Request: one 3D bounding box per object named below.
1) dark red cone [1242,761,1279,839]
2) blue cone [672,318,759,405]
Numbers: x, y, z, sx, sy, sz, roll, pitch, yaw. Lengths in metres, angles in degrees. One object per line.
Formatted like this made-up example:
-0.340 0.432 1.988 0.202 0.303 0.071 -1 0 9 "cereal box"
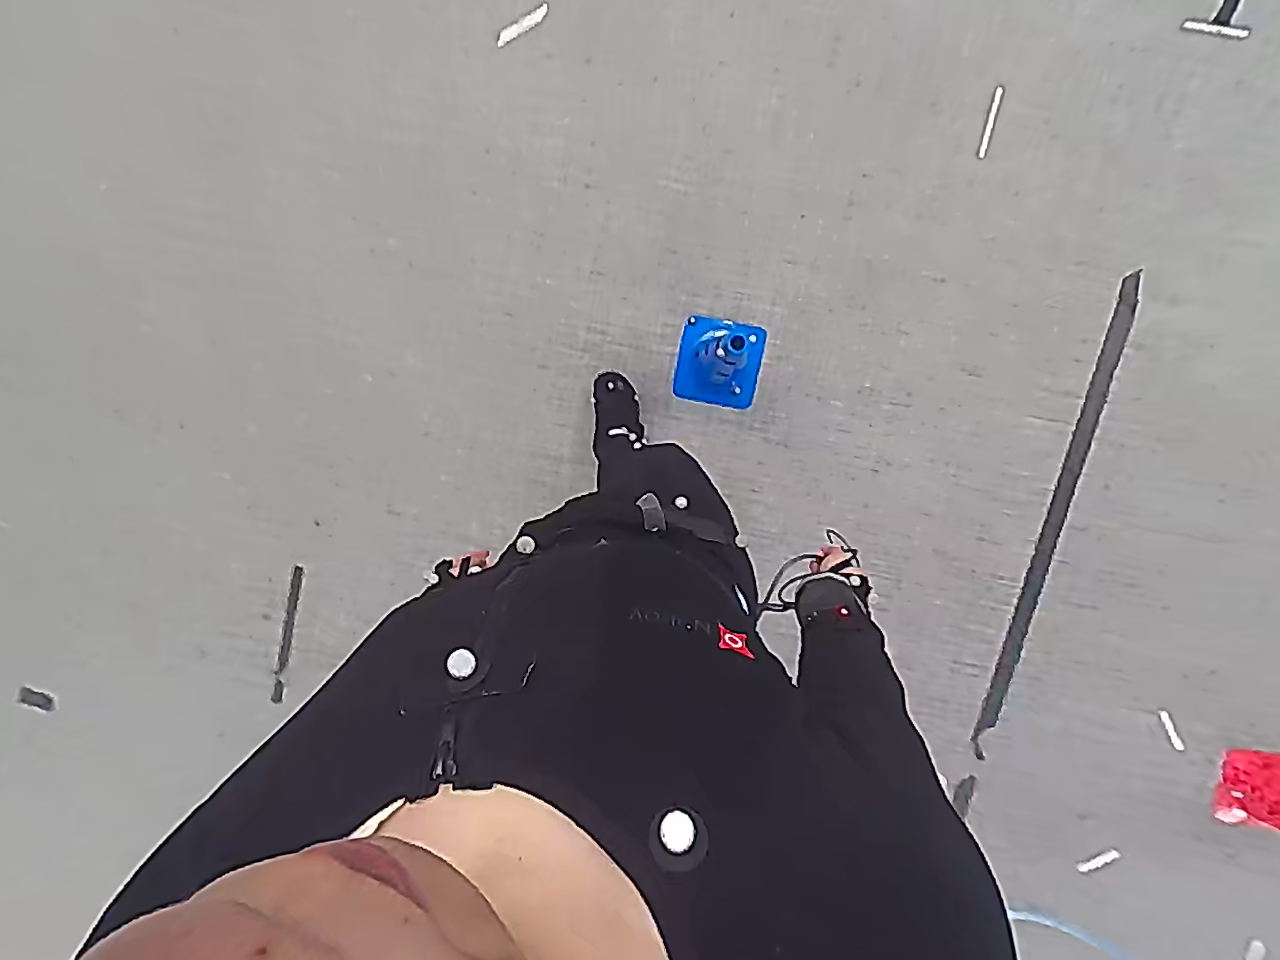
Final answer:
1.570 0.803 1.154 0.201 0.394 0.202 4 97 4 "dark red cone"
0.170 -0.264 1.134 0.192 0.380 0.193 13 97 3 "blue cone"
